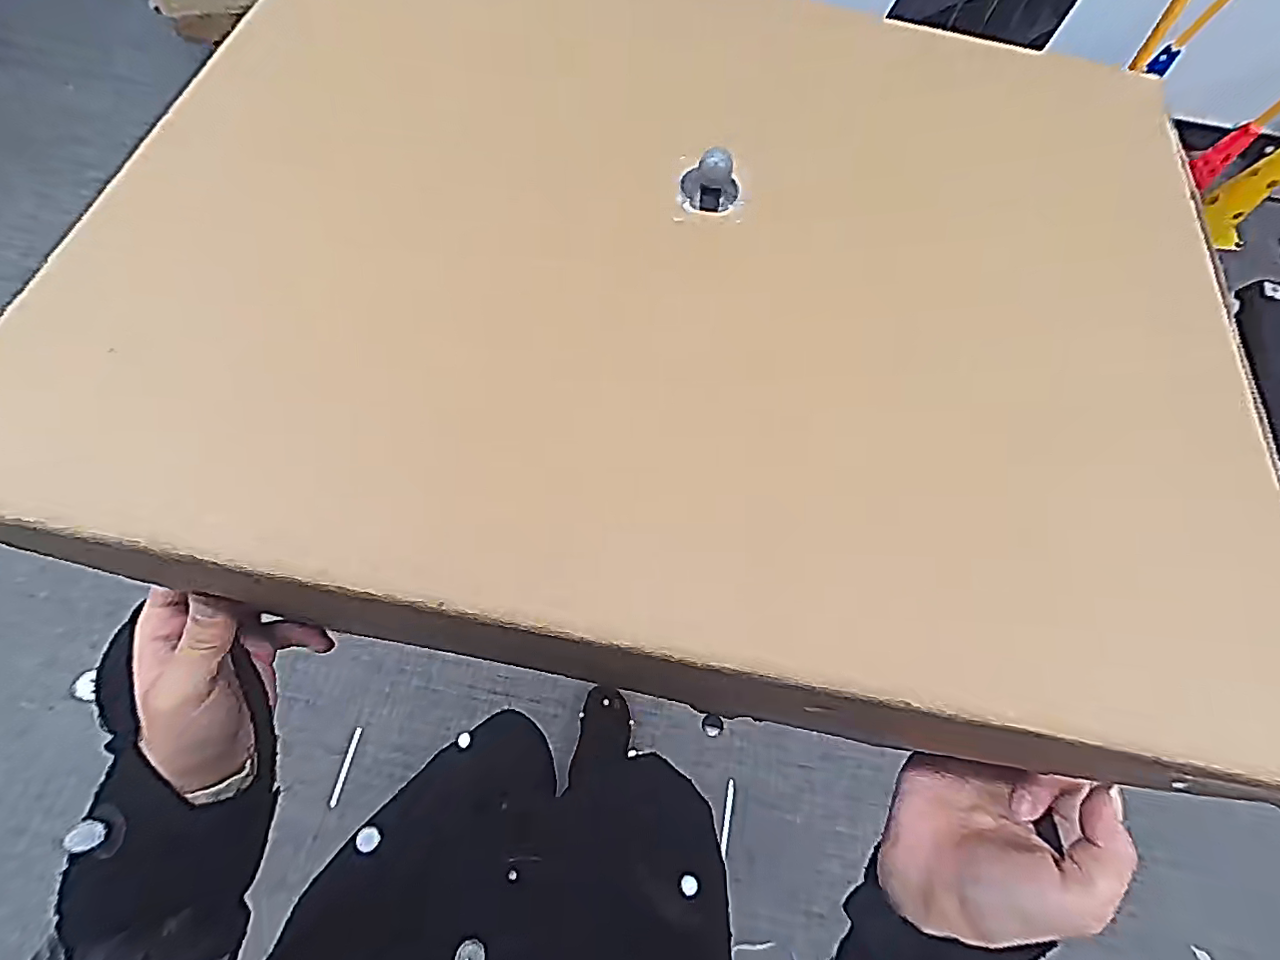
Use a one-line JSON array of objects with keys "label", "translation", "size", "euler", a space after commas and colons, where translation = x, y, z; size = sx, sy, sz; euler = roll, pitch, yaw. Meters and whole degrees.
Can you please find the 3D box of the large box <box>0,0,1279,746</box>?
[{"label": "large box", "translation": [0.011, -0.050, 0.338], "size": [0.408, 0.320, 0.320], "euler": [11, 69, 1]}]
